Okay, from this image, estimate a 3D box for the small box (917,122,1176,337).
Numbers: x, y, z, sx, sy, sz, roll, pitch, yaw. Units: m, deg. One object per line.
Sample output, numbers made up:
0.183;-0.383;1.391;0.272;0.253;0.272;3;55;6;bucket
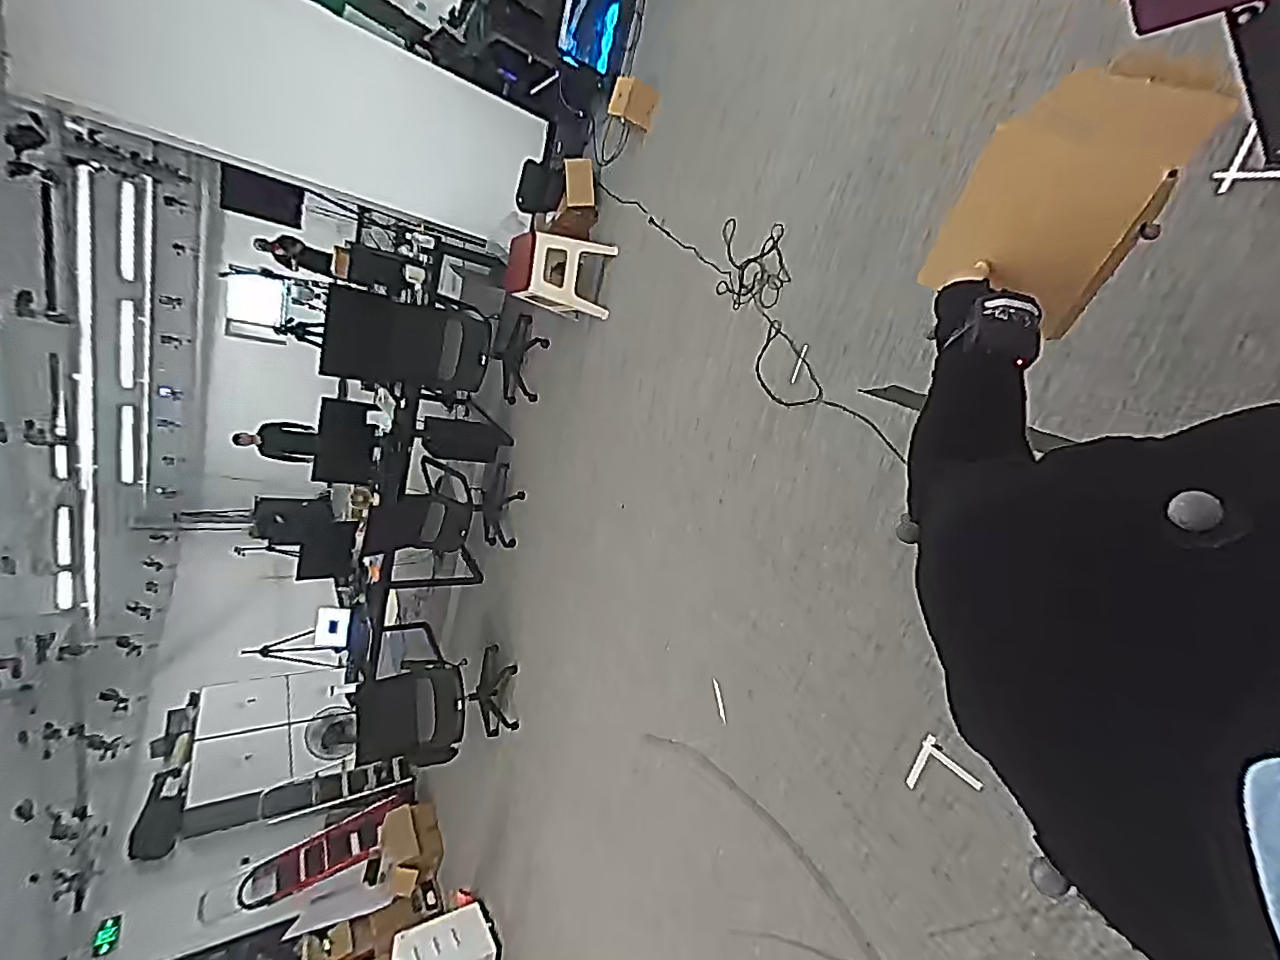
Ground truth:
0.476;-0.288;0.649;0.168;0.176;0.179;40;125;27;small box
